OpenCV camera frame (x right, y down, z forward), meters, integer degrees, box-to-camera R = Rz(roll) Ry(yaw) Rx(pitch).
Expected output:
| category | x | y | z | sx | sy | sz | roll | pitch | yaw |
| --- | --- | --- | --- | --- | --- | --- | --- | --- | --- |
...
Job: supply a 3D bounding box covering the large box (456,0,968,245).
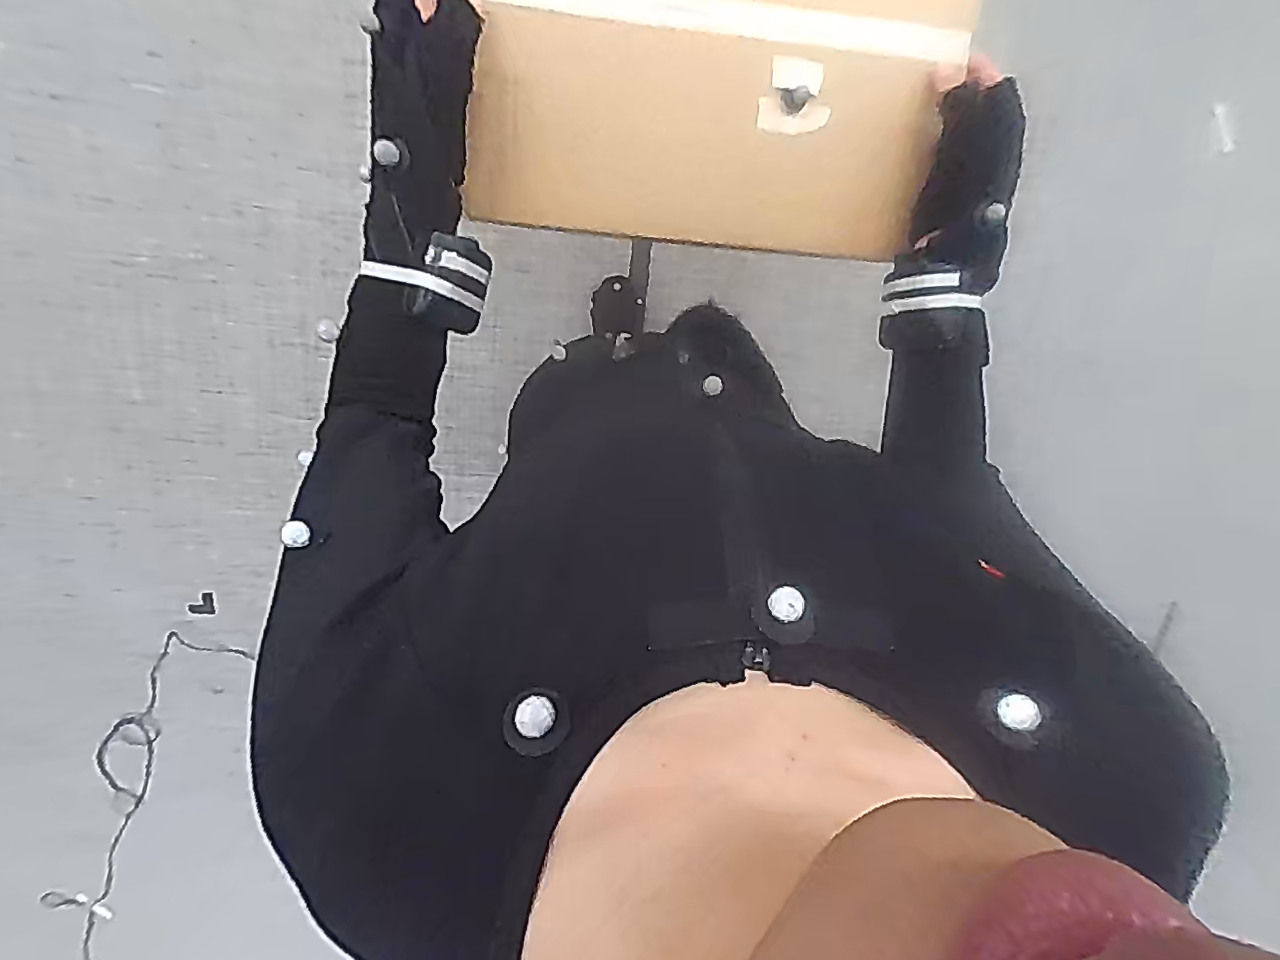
| category | x | y | z | sx | sy | sz | roll | pitch | yaw |
| --- | --- | --- | --- | --- | --- | --- | --- | --- | --- |
| large box | 0.045 | -0.423 | 0.552 | 0.408 | 0.320 | 0.320 | 2 | 115 | -7 |
